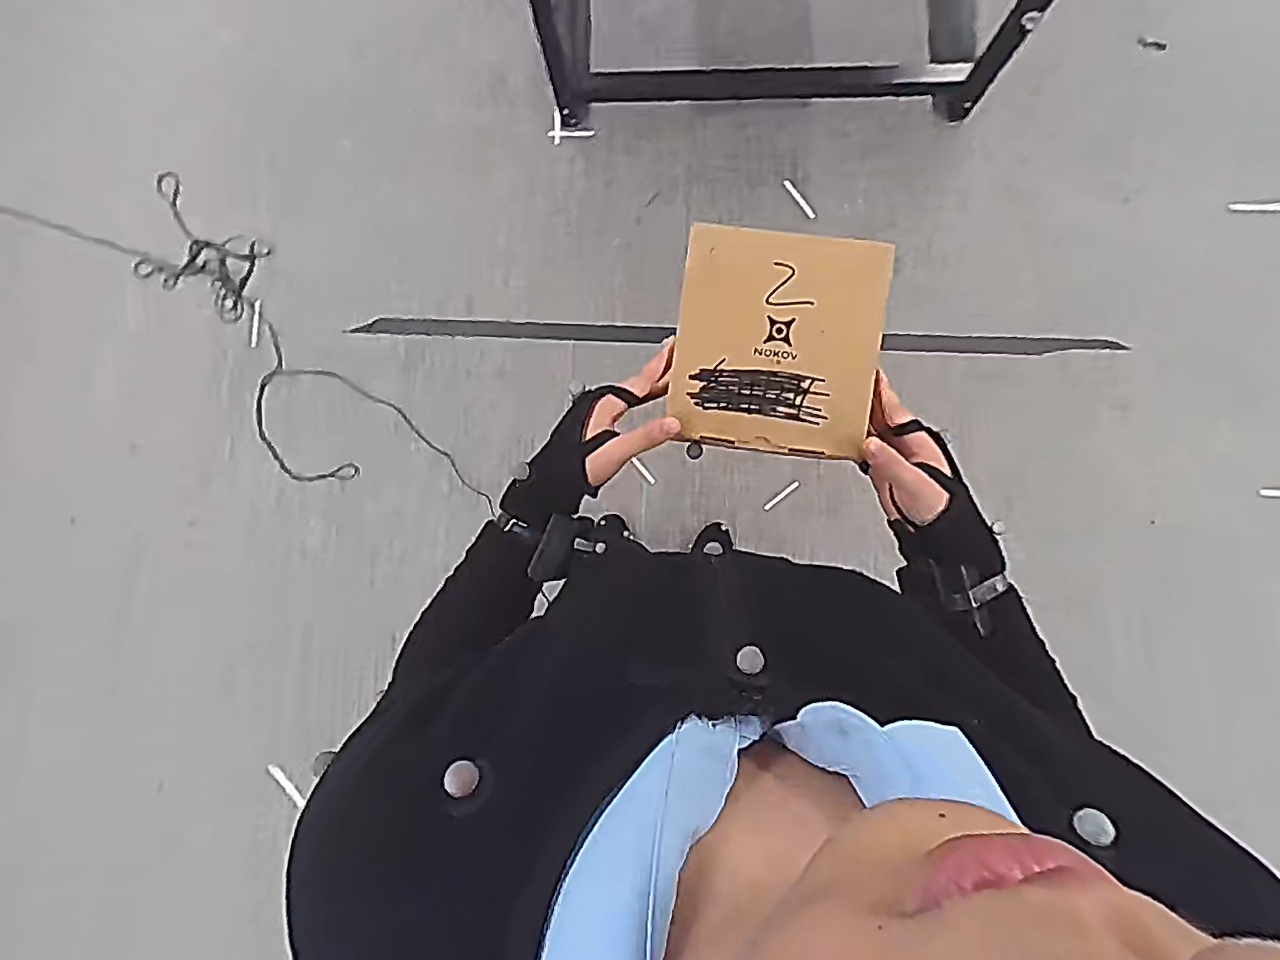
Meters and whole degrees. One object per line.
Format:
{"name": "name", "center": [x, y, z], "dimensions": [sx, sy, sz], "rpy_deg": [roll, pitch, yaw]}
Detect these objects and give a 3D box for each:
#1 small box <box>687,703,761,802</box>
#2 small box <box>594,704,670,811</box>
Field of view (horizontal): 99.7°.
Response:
{"name": "small box", "center": [0.202, 0.664, 1.335], "dimensions": [0.168, 0.176, 0.179], "rpy_deg": [-1, 85, 4]}
{"name": "small box", "center": [-0.015, 0.681, 1.344], "dimensions": [0.168, 0.176, 0.179], "rpy_deg": [6, 85, 2]}
